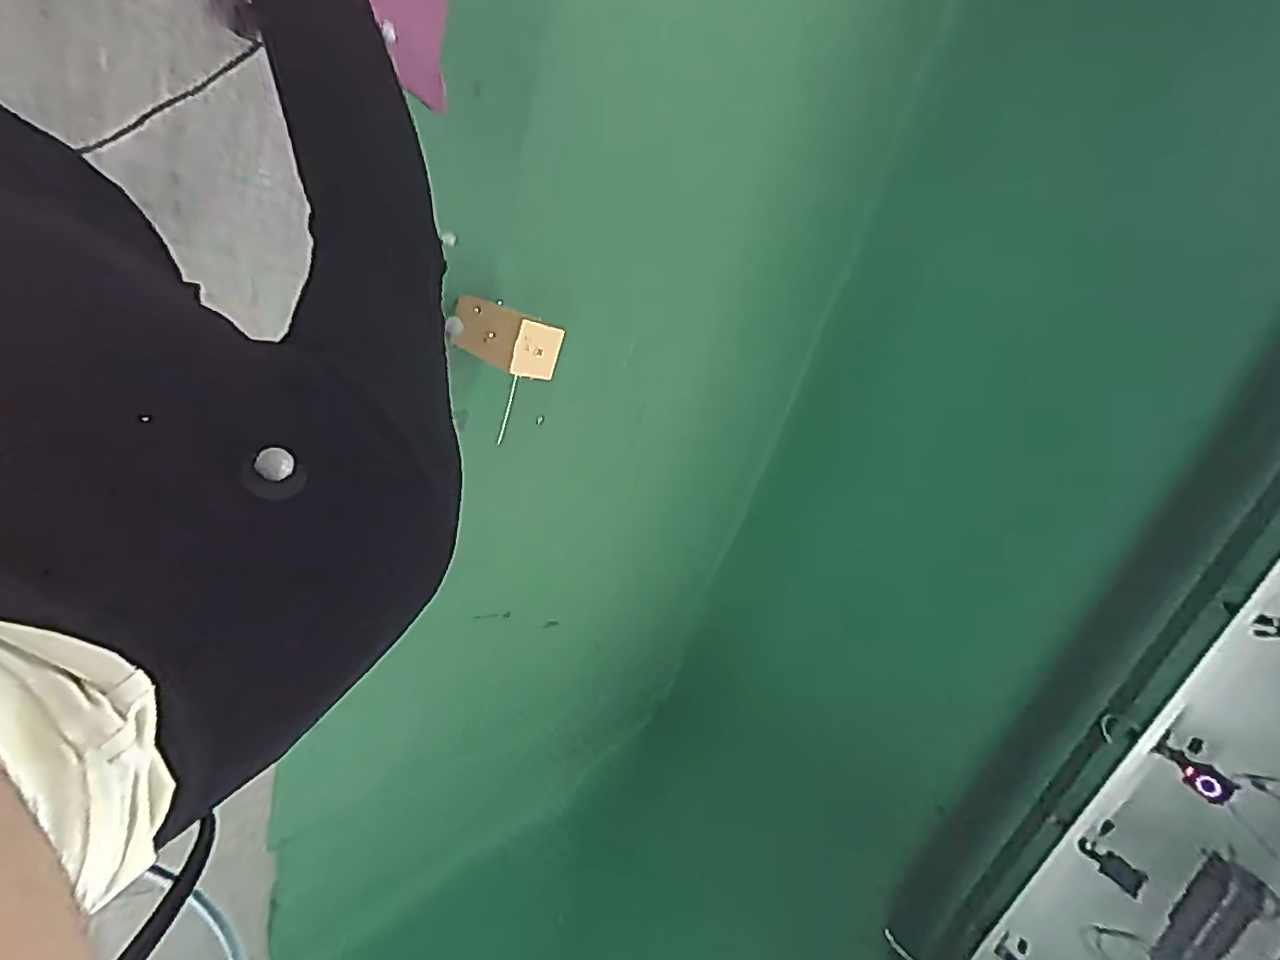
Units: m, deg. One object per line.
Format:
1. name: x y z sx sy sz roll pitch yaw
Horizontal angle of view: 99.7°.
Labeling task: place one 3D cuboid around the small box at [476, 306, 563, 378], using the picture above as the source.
1. small box: -0.380 -0.435 1.698 0.179 0.176 0.168 -2 116 -53
